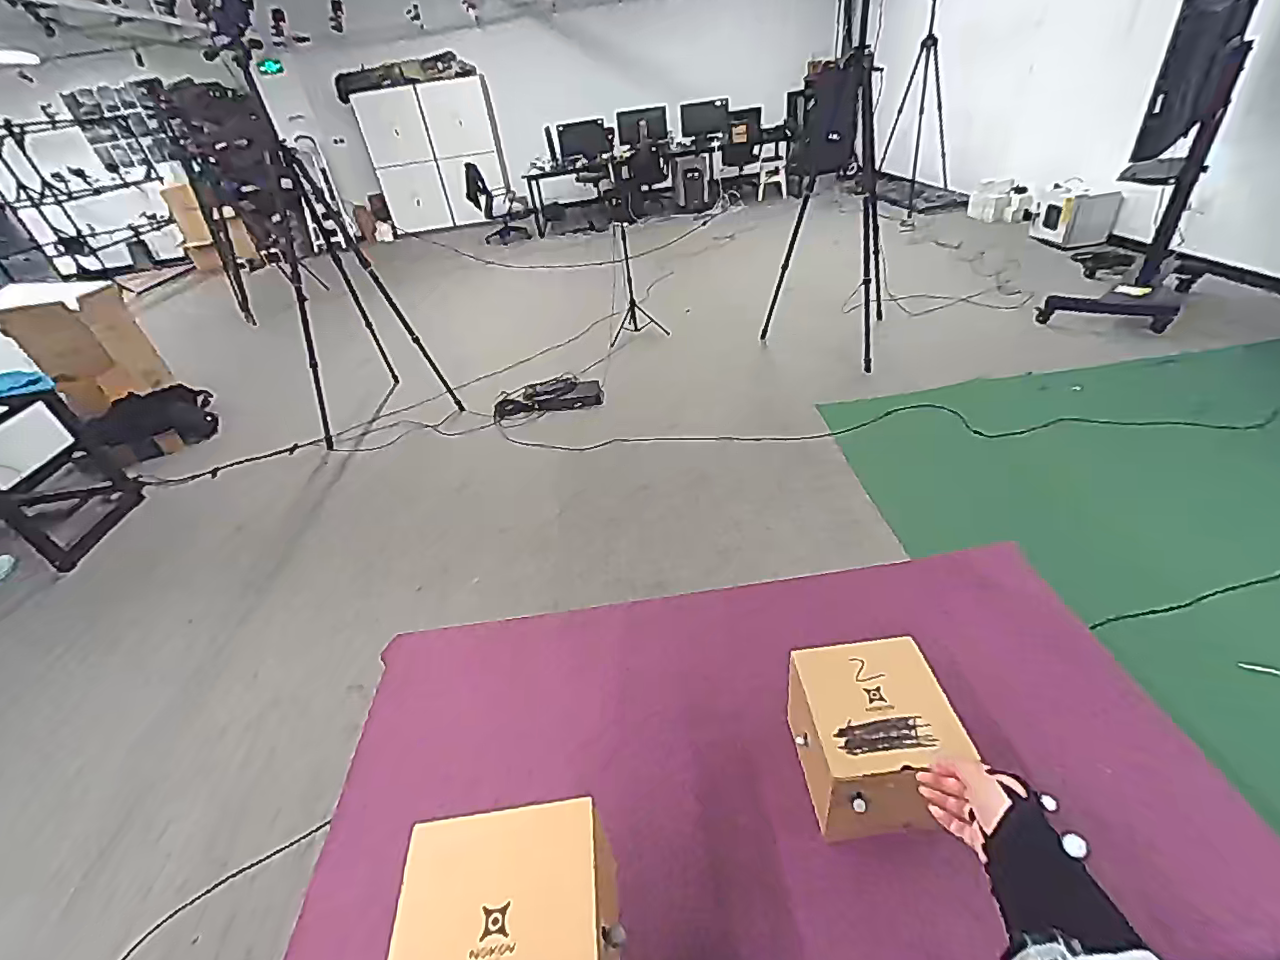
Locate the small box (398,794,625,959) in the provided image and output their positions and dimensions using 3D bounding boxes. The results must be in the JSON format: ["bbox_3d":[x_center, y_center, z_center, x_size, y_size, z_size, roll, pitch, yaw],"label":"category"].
[{"bbox_3d":[-0.106,0.425,0.494,0.168,0.176,0.179,-11,41,-2],"label":"small box"}]
